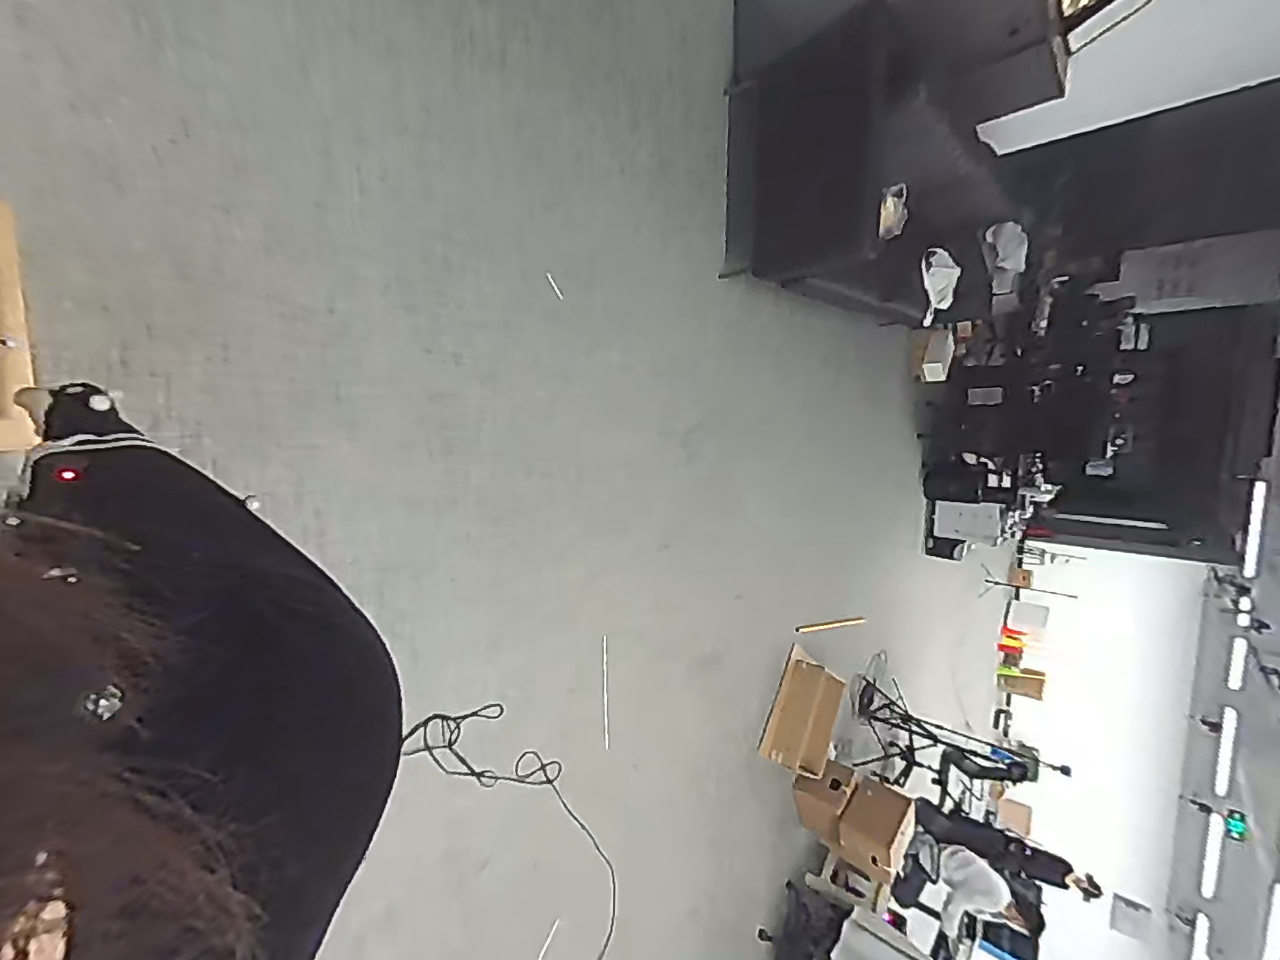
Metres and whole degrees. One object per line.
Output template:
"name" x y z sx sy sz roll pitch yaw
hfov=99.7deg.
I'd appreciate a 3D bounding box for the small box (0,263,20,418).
"small box" -0.774 -0.154 0.558 0.168 0.176 0.179 -3 96 -46
